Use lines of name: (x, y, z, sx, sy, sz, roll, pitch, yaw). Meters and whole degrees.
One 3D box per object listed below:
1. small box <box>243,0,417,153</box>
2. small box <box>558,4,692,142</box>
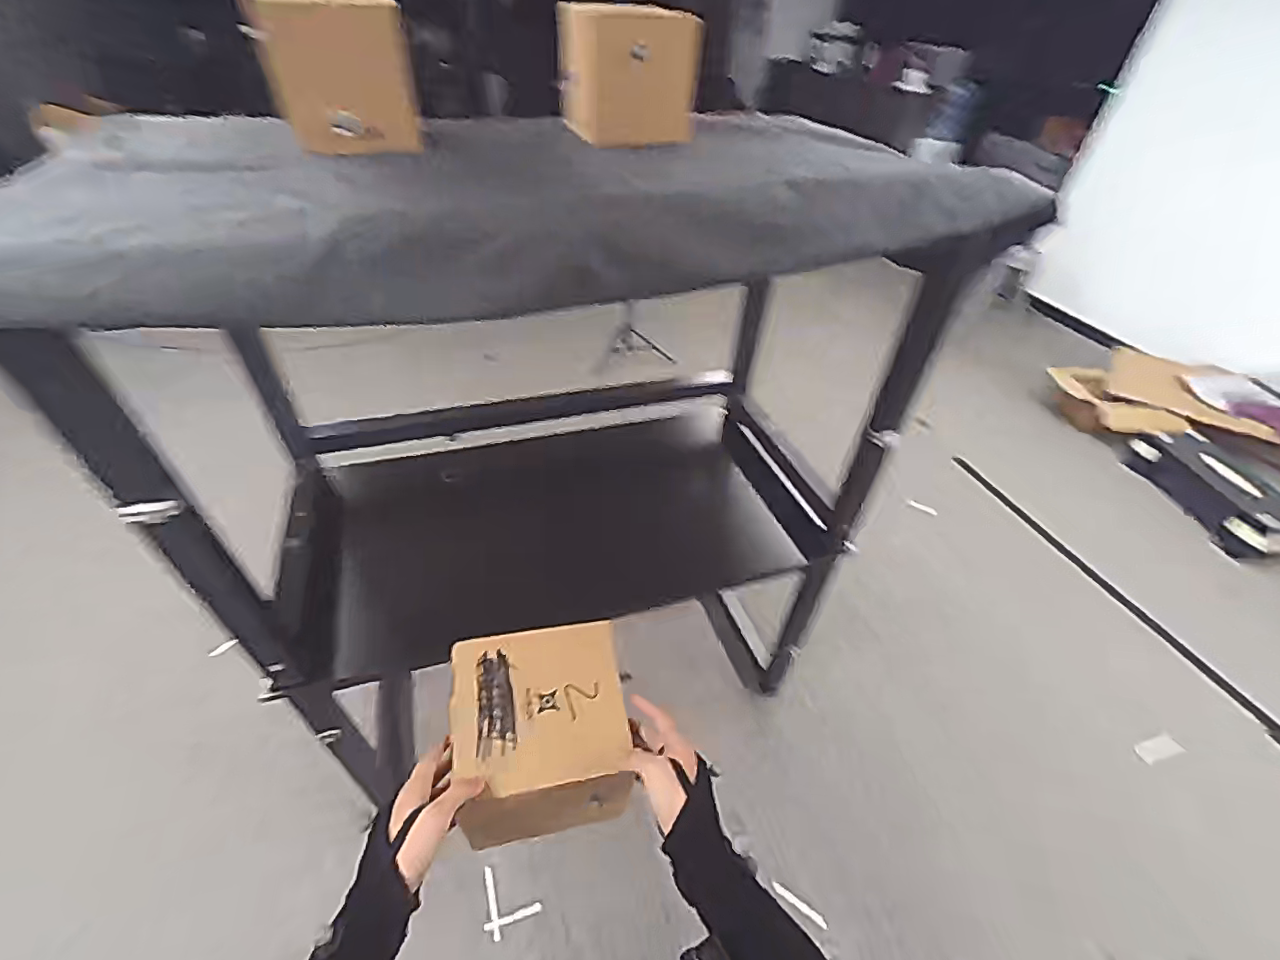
small box: (-0.430, -0.577, 0.766, 0.168, 0.176, 0.179, -17, 47, -20)
small box: (-0.029, -0.675, 0.899, 0.179, 0.176, 0.168, -11, 45, -16)
